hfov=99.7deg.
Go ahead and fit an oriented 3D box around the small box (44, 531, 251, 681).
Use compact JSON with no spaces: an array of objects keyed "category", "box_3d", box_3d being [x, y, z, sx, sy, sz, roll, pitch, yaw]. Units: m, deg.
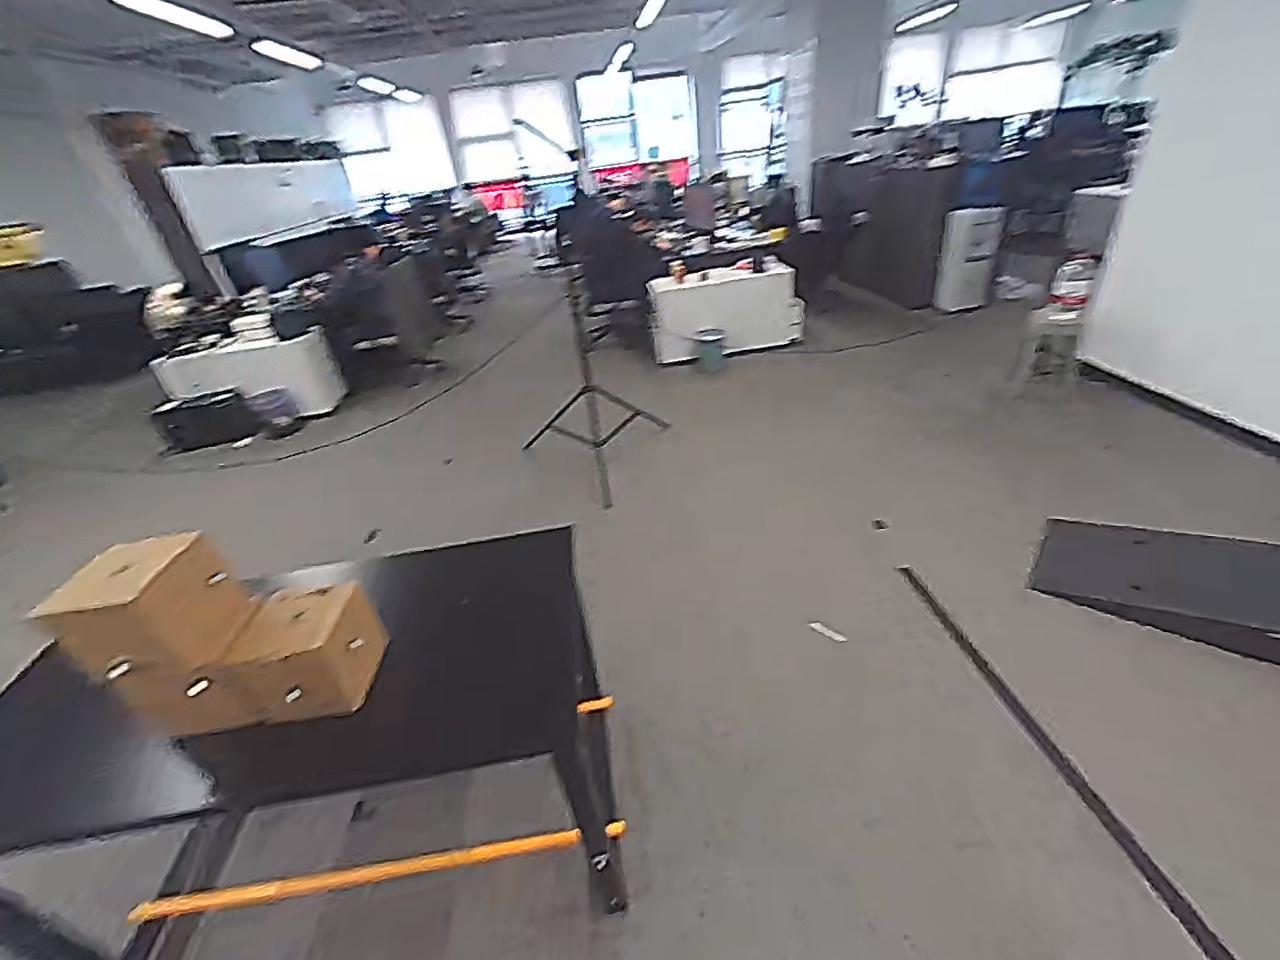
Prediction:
[{"category":"small box","box_3d":[-0.819,0.213,0.929,0.168,0.176,0.179,-9,33,1]}]
